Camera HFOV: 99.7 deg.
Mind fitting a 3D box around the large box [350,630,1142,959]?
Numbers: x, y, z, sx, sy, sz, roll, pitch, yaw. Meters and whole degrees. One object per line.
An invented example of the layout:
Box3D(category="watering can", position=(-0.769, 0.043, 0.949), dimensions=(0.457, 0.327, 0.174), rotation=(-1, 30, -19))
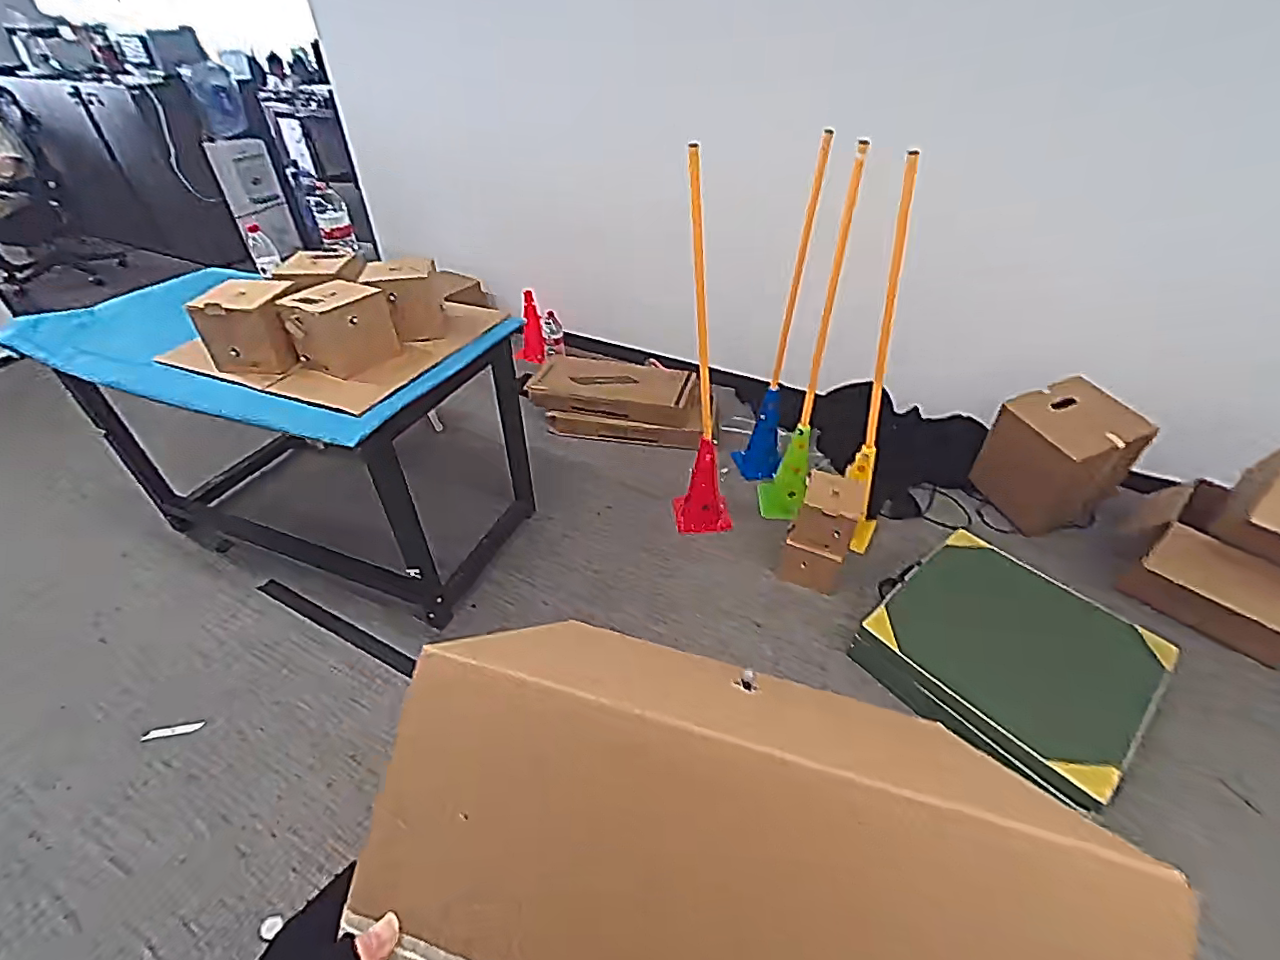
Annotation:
Box3D(category="large box", position=(0.051, 0.328, 0.427), dimensions=(0.408, 0.320, 0.320), rotation=(12, 81, 12))
